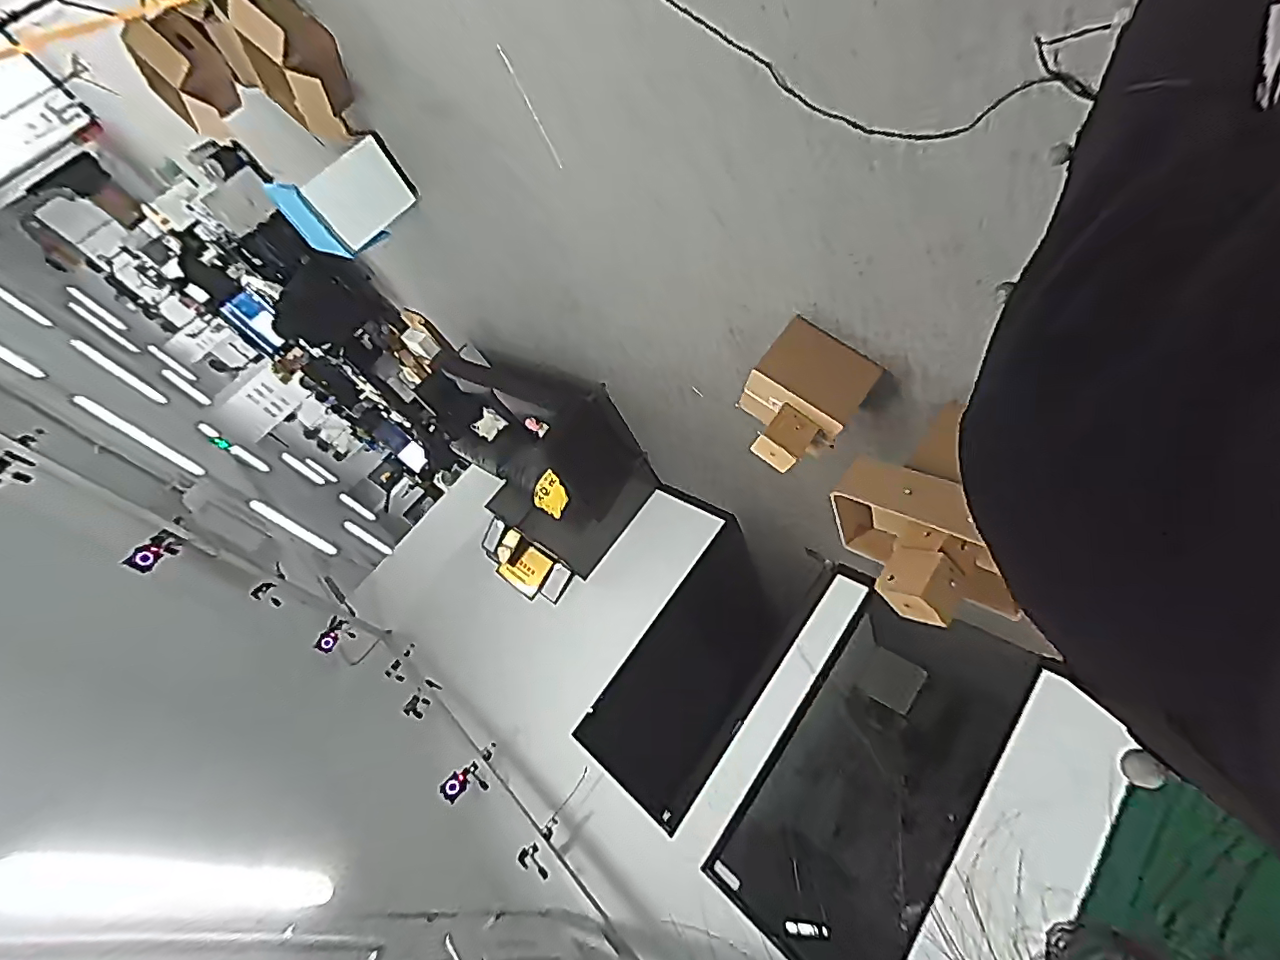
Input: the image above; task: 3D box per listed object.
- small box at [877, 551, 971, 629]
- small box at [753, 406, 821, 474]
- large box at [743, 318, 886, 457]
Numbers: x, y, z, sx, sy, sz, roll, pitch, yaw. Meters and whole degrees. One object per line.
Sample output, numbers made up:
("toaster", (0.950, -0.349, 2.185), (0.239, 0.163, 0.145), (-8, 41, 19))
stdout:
("small box", (0.909, 0.344, 1.729), (0.168, 0.176, 0.179), (44, 163, -18))
("small box", (0.574, -0.156, 2.107), (0.168, 0.176, 0.179), (37, 165, 8))
("large box", (0.687, -0.365, 2.170), (0.408, 0.320, 0.320), (37, 164, 13))
